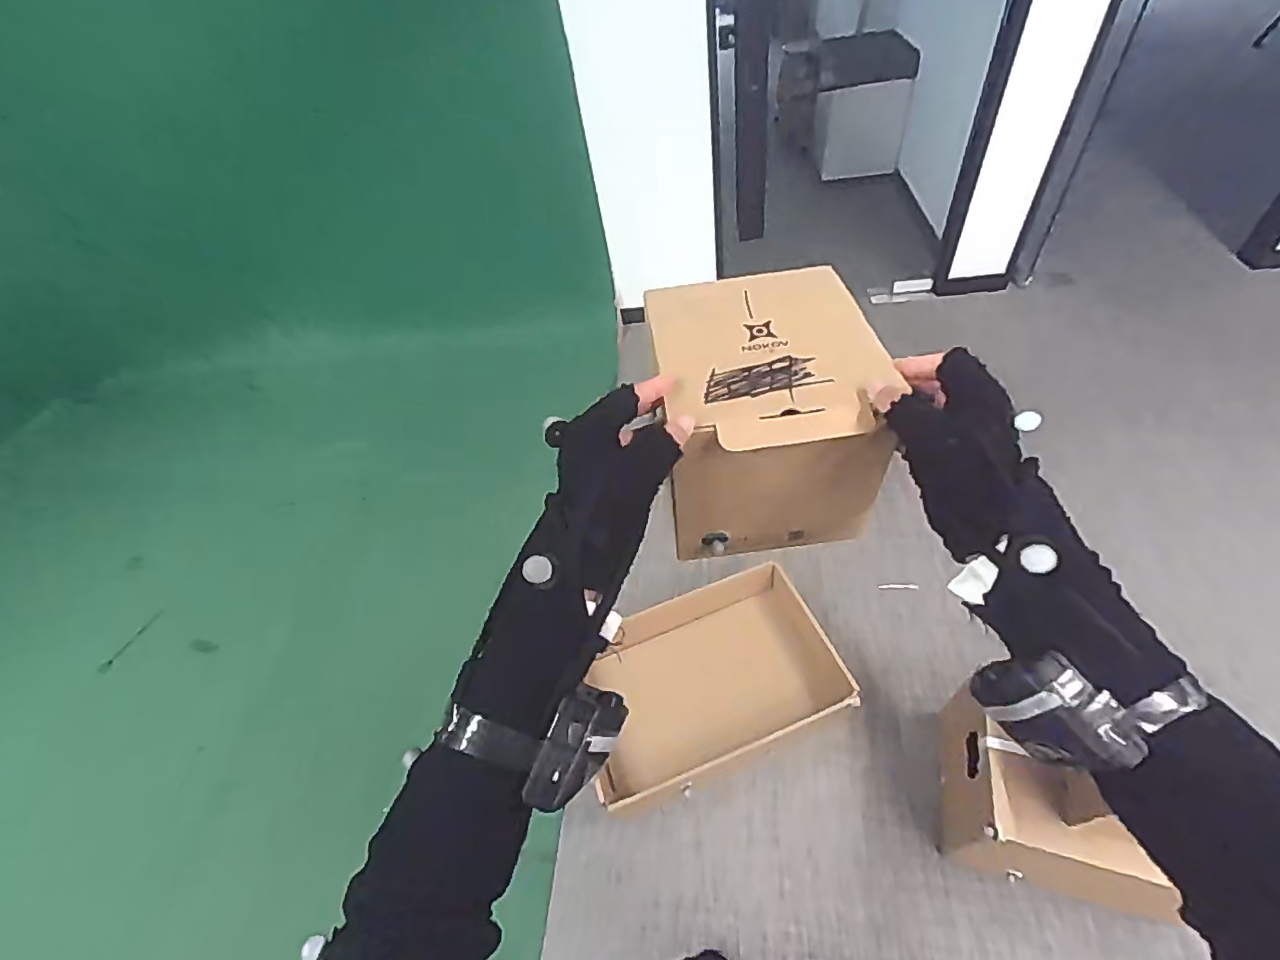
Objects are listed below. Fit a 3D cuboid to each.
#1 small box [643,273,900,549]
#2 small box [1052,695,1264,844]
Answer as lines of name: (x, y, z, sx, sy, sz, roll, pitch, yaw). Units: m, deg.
small box: (0.096, -0.052, 0.473, 0.168, 0.176, 0.179, -6, 48, 1)
small box: (0.801, 0.466, 0.869, 0.179, 0.176, 0.168, 3, 52, 14)
